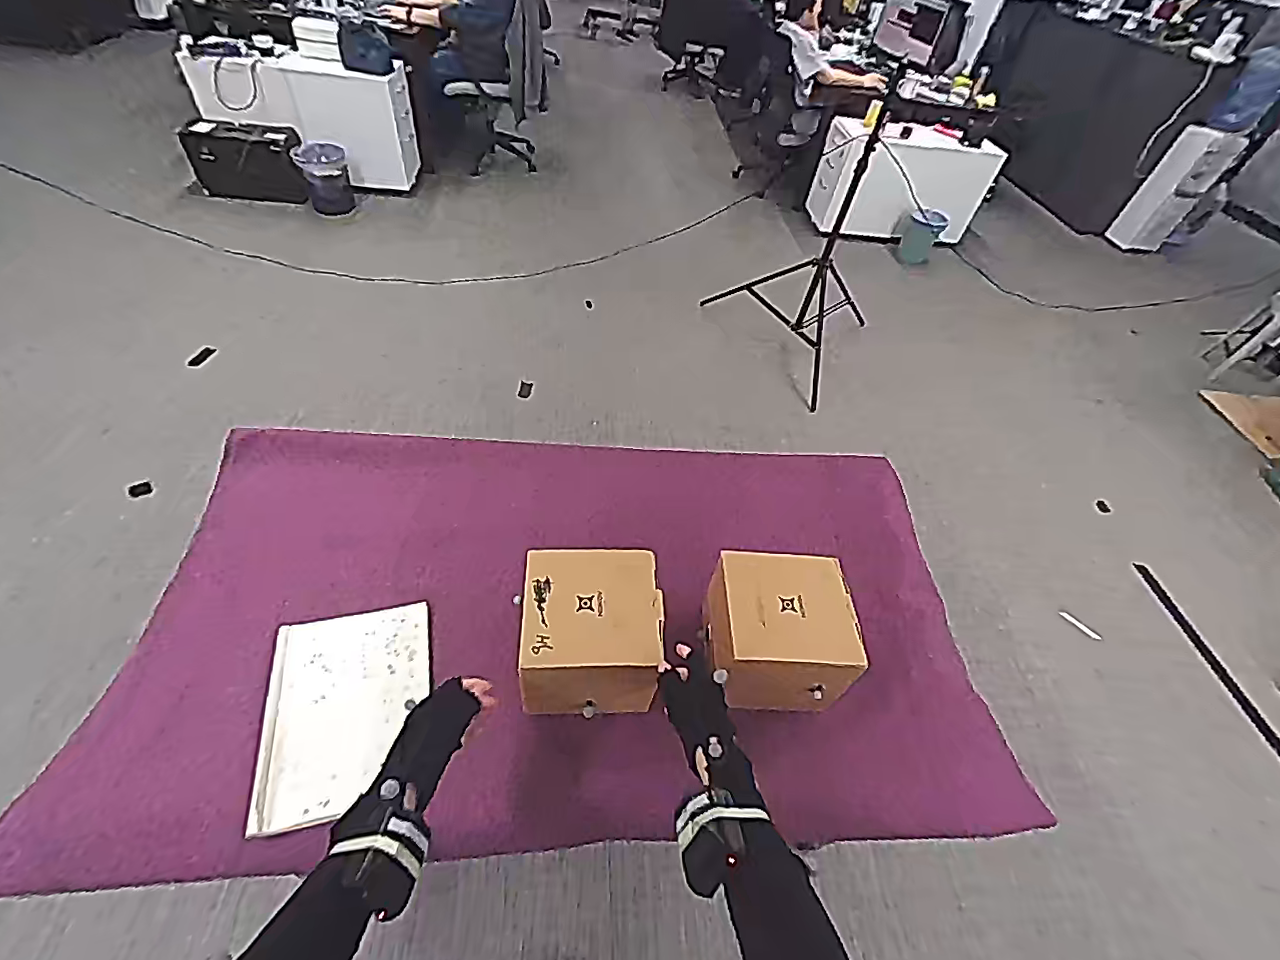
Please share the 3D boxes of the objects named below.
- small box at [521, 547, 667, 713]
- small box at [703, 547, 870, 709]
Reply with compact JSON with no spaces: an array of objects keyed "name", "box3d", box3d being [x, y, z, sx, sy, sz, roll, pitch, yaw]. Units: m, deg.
[{"name":"small box","box3d":[-0.068,0.209,0.746,0.179,0.176,0.168,2,48,-8]},{"name":"small box","box3d":[0.196,0.217,0.780,0.179,0.176,0.168,4,47,-4]}]
